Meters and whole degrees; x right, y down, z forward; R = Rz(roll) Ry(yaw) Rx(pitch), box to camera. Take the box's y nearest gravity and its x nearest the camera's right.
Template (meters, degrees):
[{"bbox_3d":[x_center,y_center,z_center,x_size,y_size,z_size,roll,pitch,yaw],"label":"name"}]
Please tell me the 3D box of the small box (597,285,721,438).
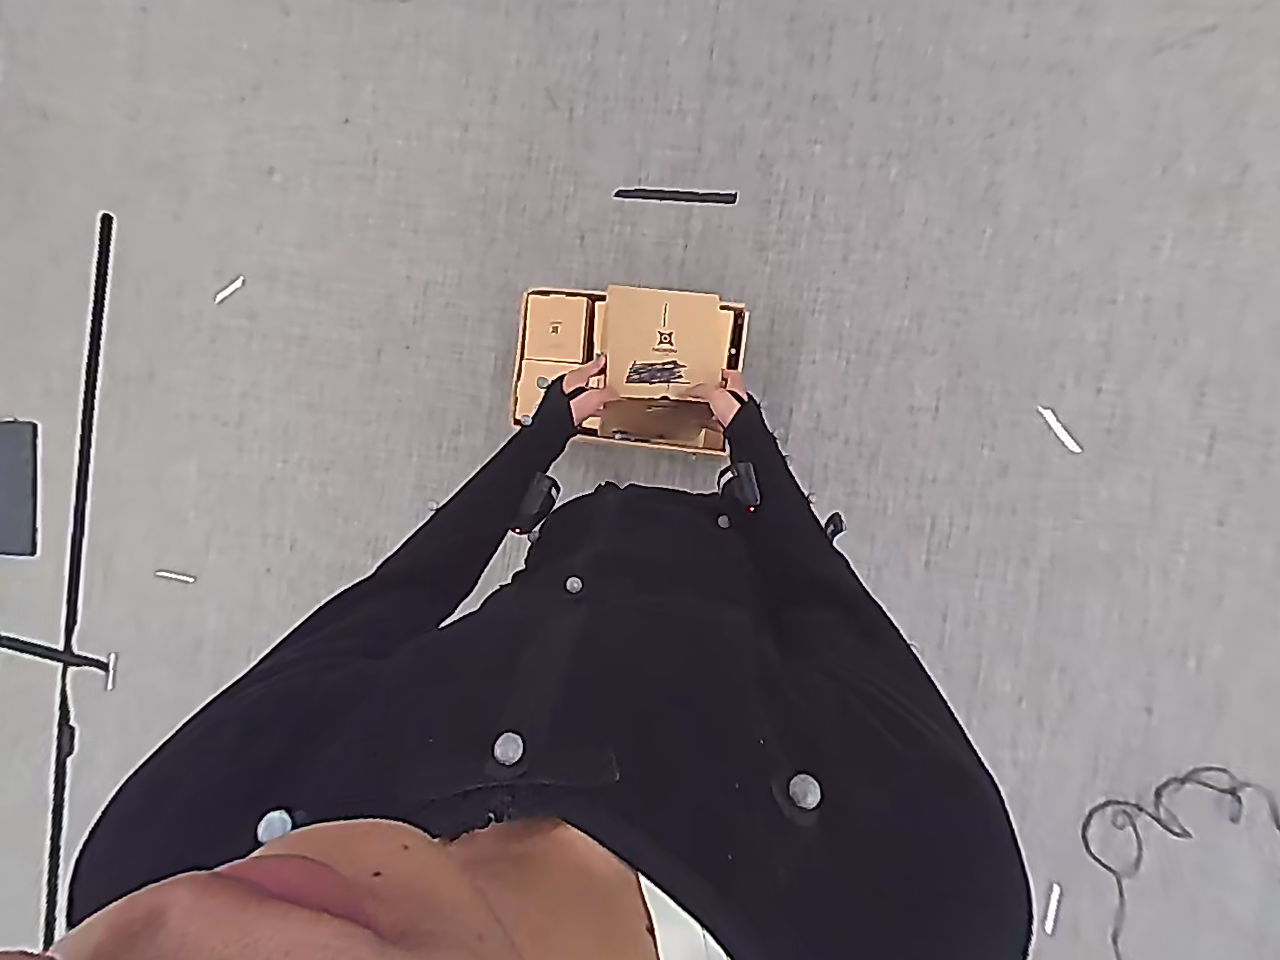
[{"bbox_3d":[0.023,-0.171,0.831,0.168,0.176,0.179,2,76,-8],"label":"small box"}]
